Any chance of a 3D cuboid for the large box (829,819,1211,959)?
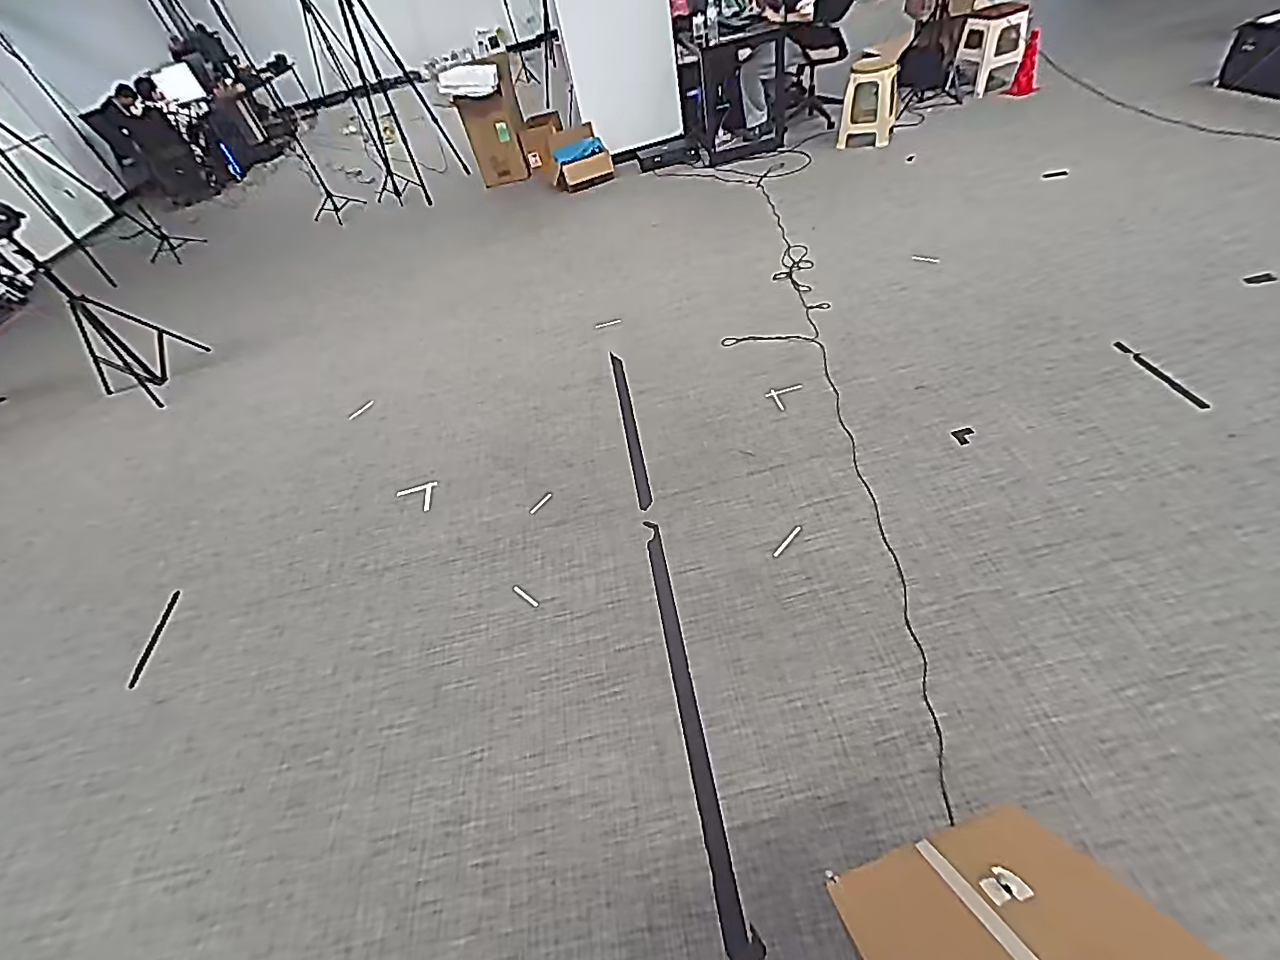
[{"bbox_3d":[0.478,0.680,0.602,0.320,0.408,0.320,-20,83,-2],"label":"large box"}]
